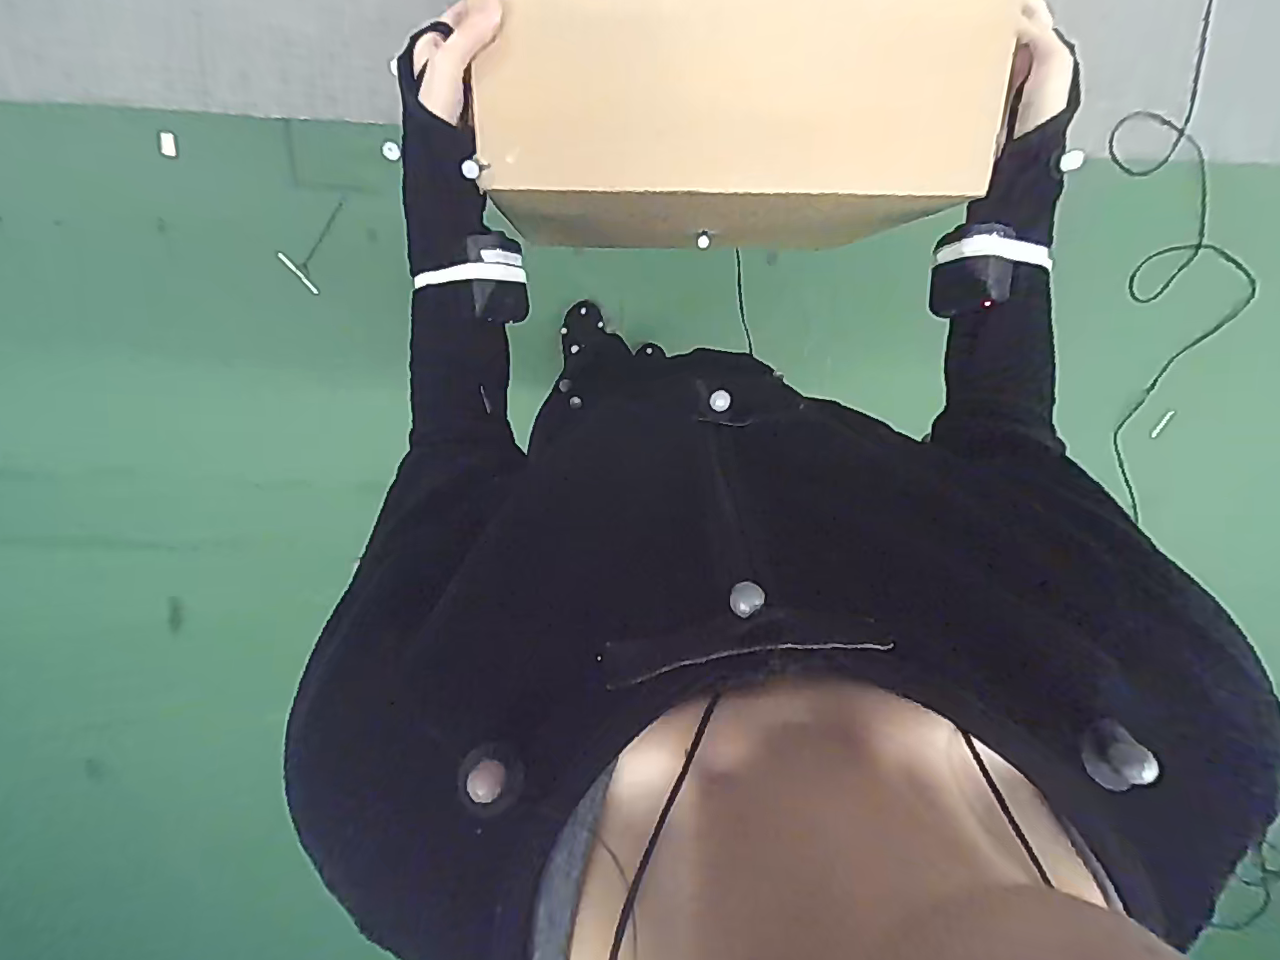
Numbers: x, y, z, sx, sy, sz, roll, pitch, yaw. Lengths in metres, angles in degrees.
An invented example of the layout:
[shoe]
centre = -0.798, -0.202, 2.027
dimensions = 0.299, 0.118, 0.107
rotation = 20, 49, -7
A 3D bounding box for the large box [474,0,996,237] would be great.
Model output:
[large box]
centre = 0.069, -0.428, 0.538
dimensions = 0.408, 0.320, 0.320
rotation = -1, 105, -3
